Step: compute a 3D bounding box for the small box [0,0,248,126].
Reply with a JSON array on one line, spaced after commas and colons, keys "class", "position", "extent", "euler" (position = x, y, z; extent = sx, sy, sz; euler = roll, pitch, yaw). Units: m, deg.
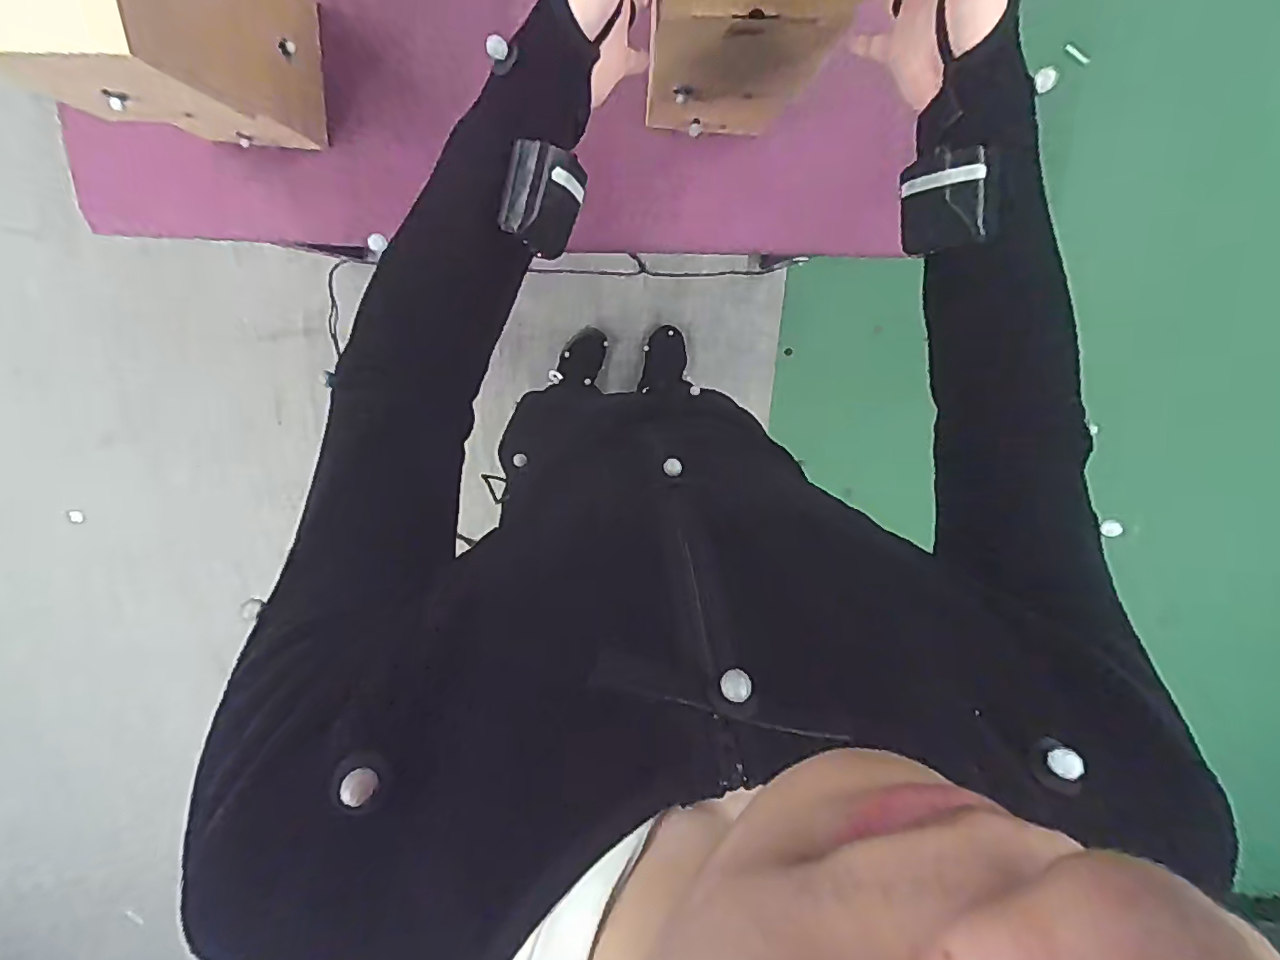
[{"class": "small box", "position": [-0.503, -0.449, 0.497], "extent": [0.168, 0.176, 0.179], "euler": [0, 107, -2]}]

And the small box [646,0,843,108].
[{"class": "small box", "position": [0.091, -0.480, 0.510], "extent": [0.168, 0.176, 0.179], "euler": [1, 104, -1]}]

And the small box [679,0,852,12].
[{"class": "small box", "position": [0.094, -0.447, 0.350], "extent": [0.168, 0.176, 0.179], "euler": [0, 104, 0]}]

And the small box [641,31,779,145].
[{"class": "small box", "position": [0.089, -0.542, 0.662], "extent": [0.168, 0.176, 0.179], "euler": [3, 105, -1]}]
